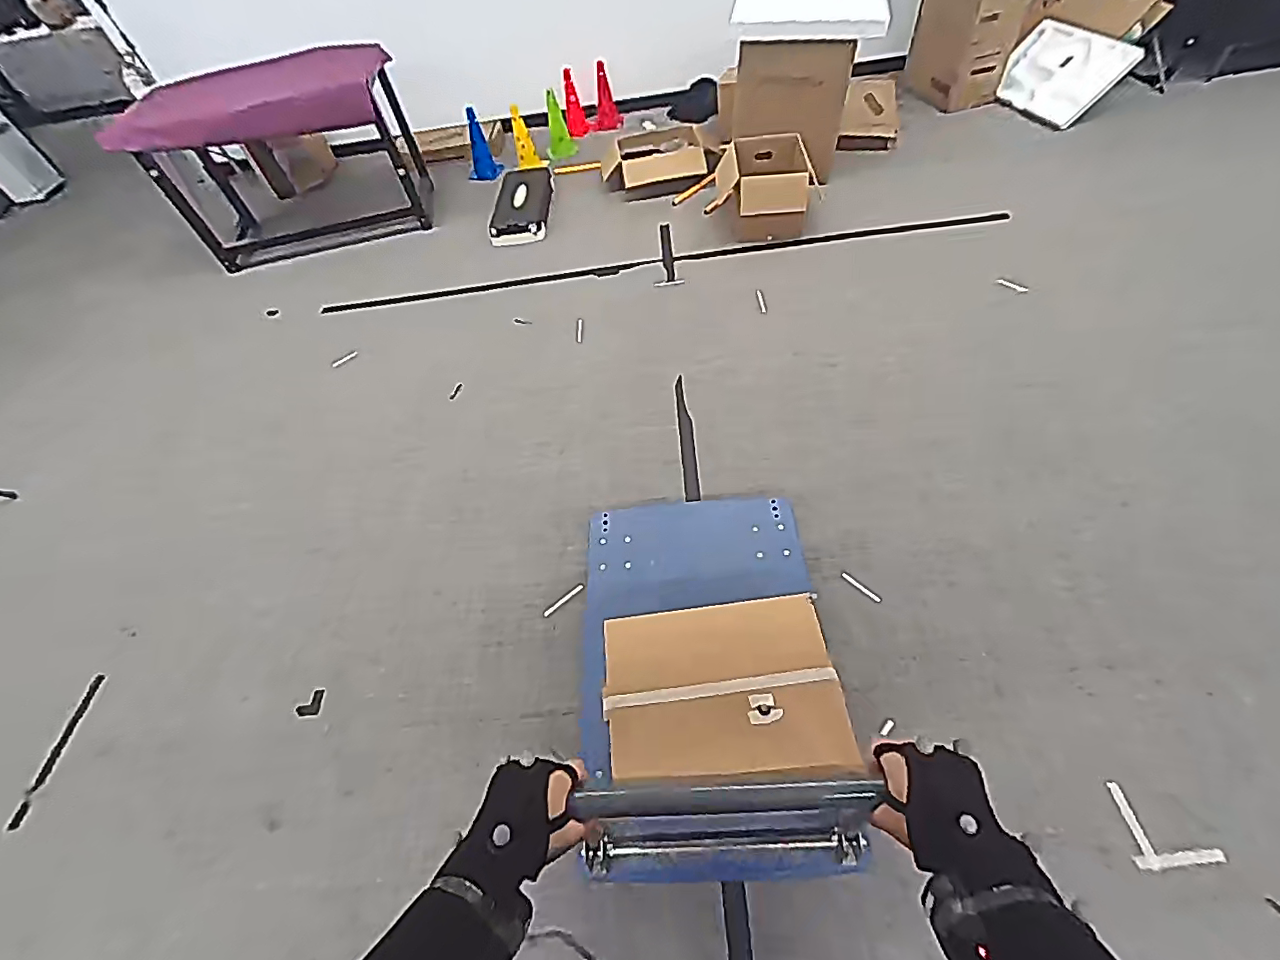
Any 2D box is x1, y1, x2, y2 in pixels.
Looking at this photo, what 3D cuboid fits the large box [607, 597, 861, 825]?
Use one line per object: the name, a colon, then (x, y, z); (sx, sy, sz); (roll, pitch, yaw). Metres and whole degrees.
large box: (0.160, 0.467, 1.078); (0.408, 0.320, 0.320); (-8, 53, 1)
